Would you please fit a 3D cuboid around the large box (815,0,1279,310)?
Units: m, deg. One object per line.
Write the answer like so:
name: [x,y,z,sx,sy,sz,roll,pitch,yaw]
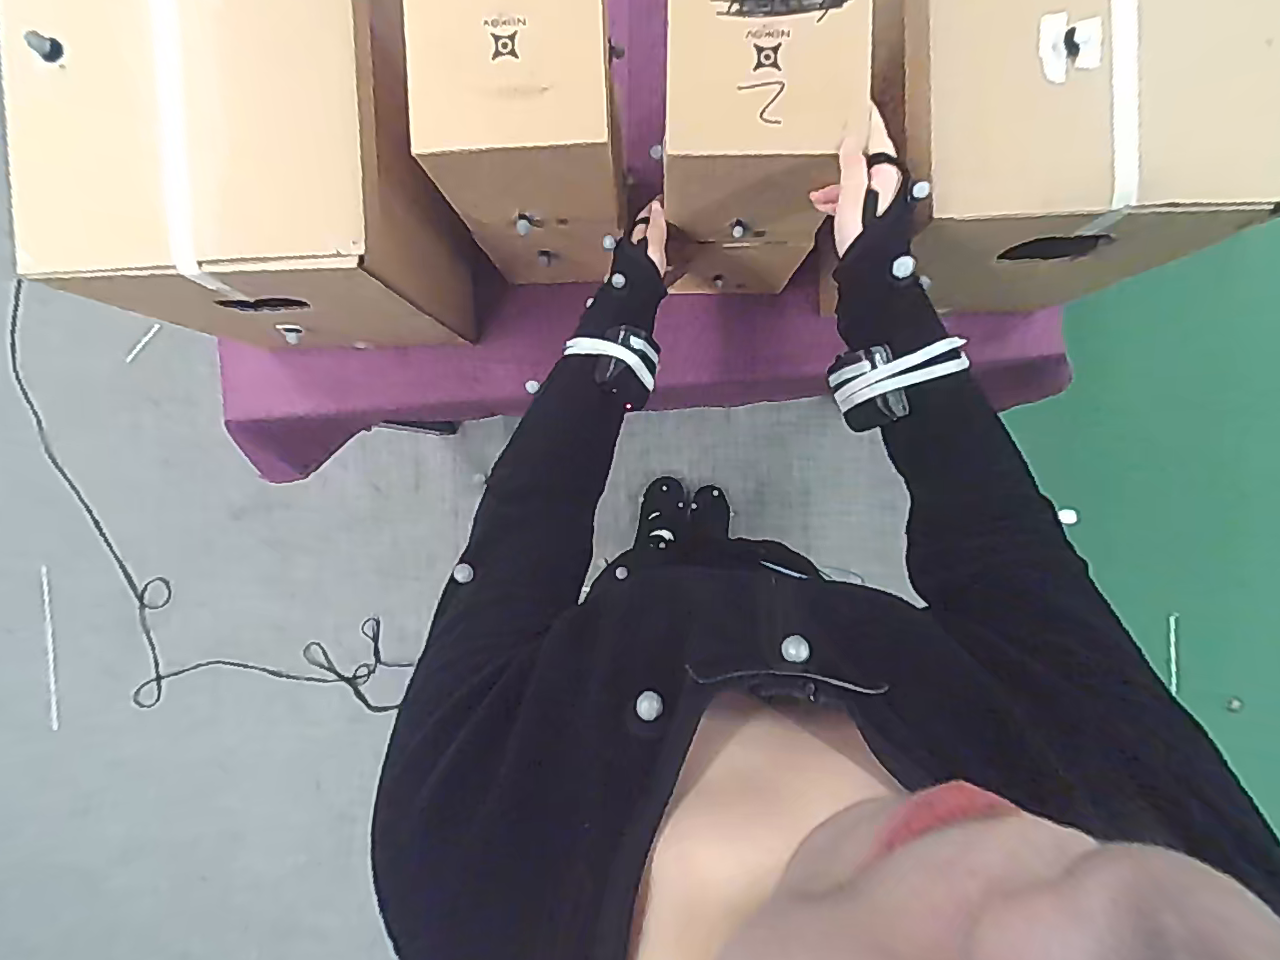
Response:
large box: [0.404,-0.437,0.617,0.320,0.320,0.408,-1,92,1]
